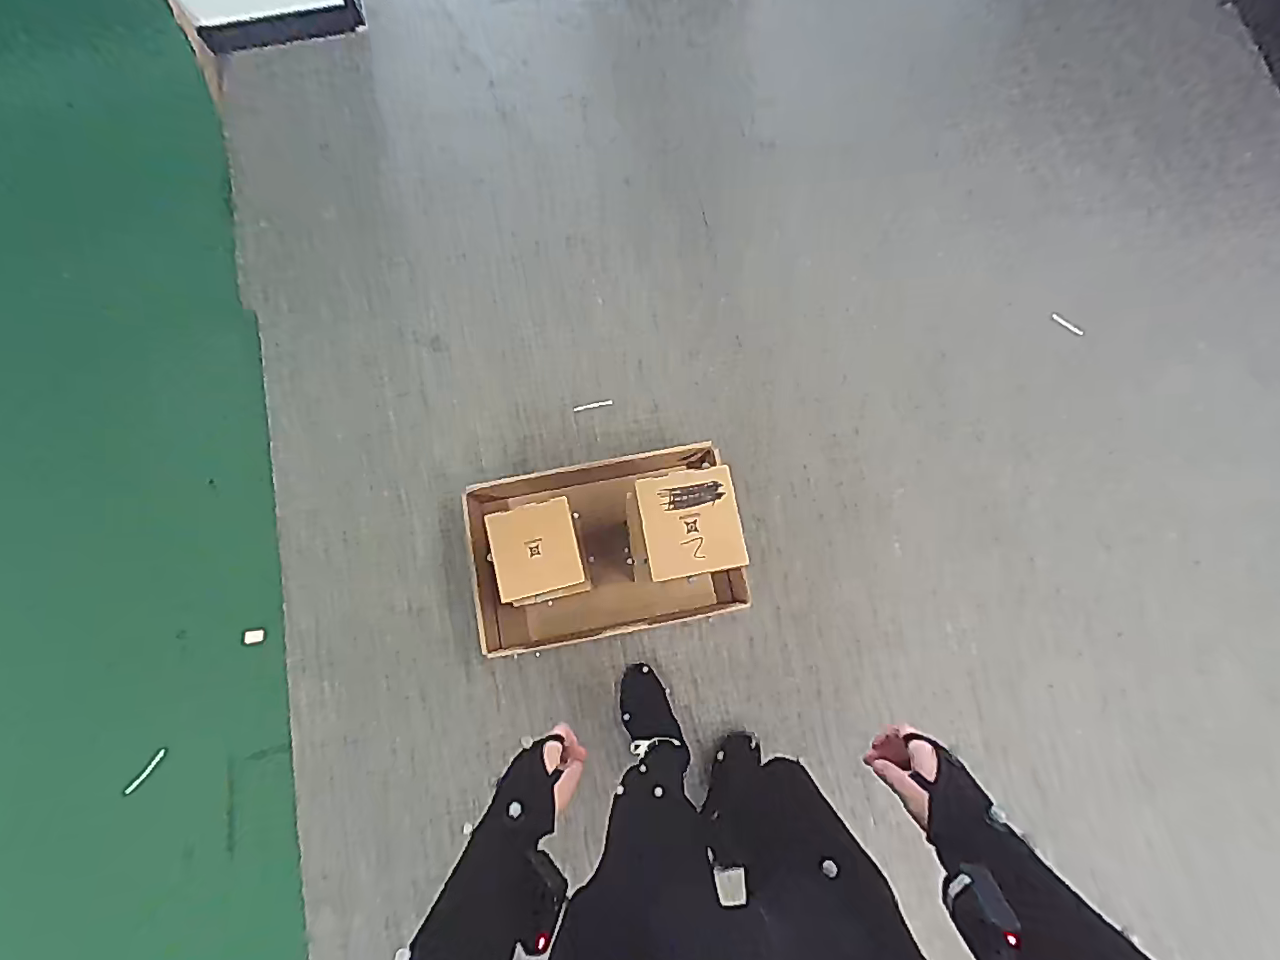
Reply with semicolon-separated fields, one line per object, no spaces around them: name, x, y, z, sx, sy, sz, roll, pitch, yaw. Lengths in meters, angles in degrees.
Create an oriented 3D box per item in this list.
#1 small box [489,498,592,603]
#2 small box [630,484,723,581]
small box;-0.200;0.151;1.131;0.168;0.176;0.179;-14;78;-4
small box;0.071;0.116;1.141;0.168;0.176;0.179;-7;78;-3
